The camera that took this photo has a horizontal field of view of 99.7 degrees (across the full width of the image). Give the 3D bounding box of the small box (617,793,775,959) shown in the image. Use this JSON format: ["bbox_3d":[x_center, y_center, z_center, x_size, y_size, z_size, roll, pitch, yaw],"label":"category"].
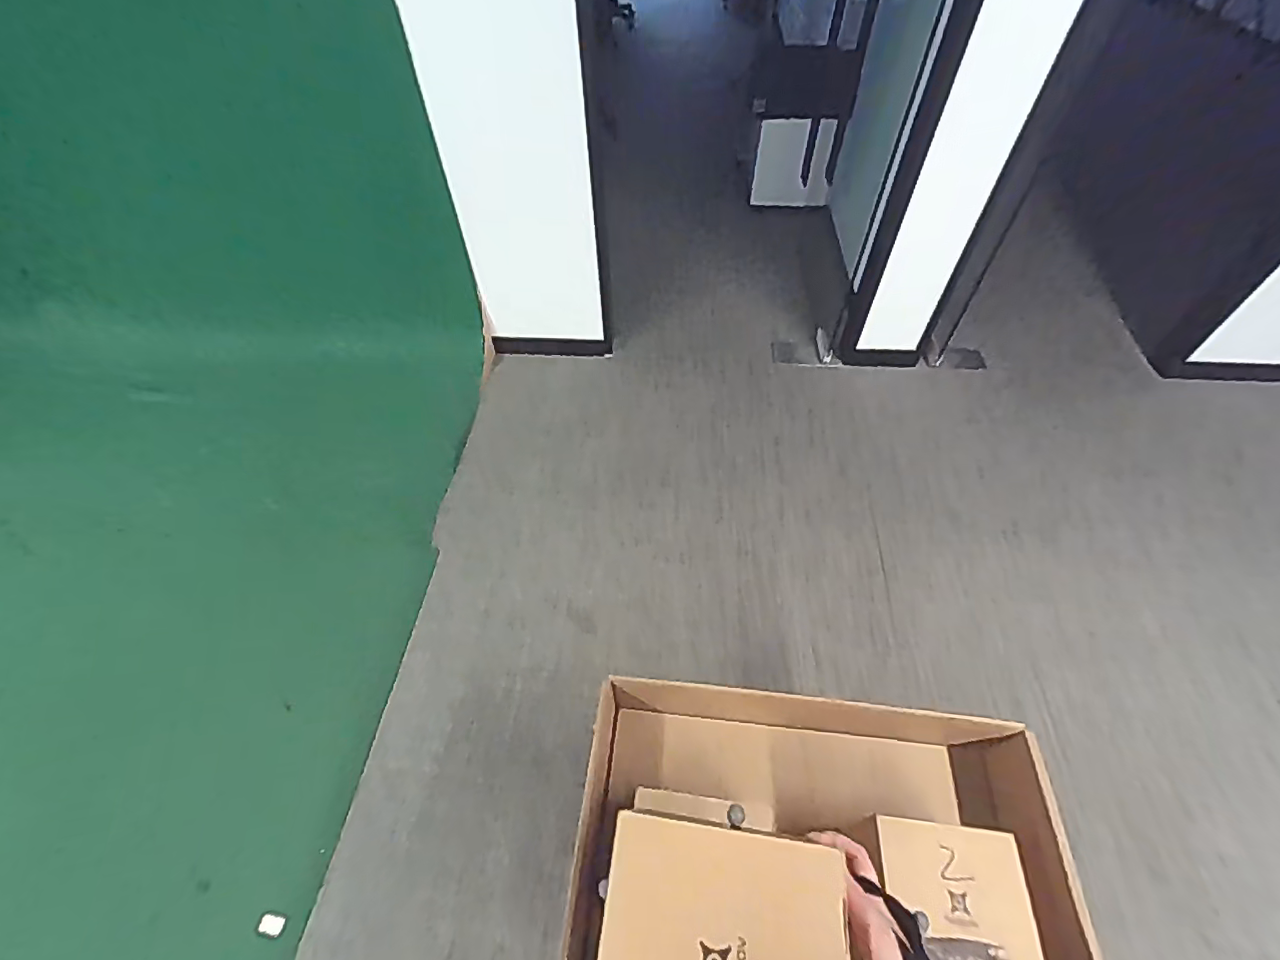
[{"bbox_3d":[0.072,0.525,0.700,0.179,0.176,0.168,6,53,5],"label":"small box"}]
